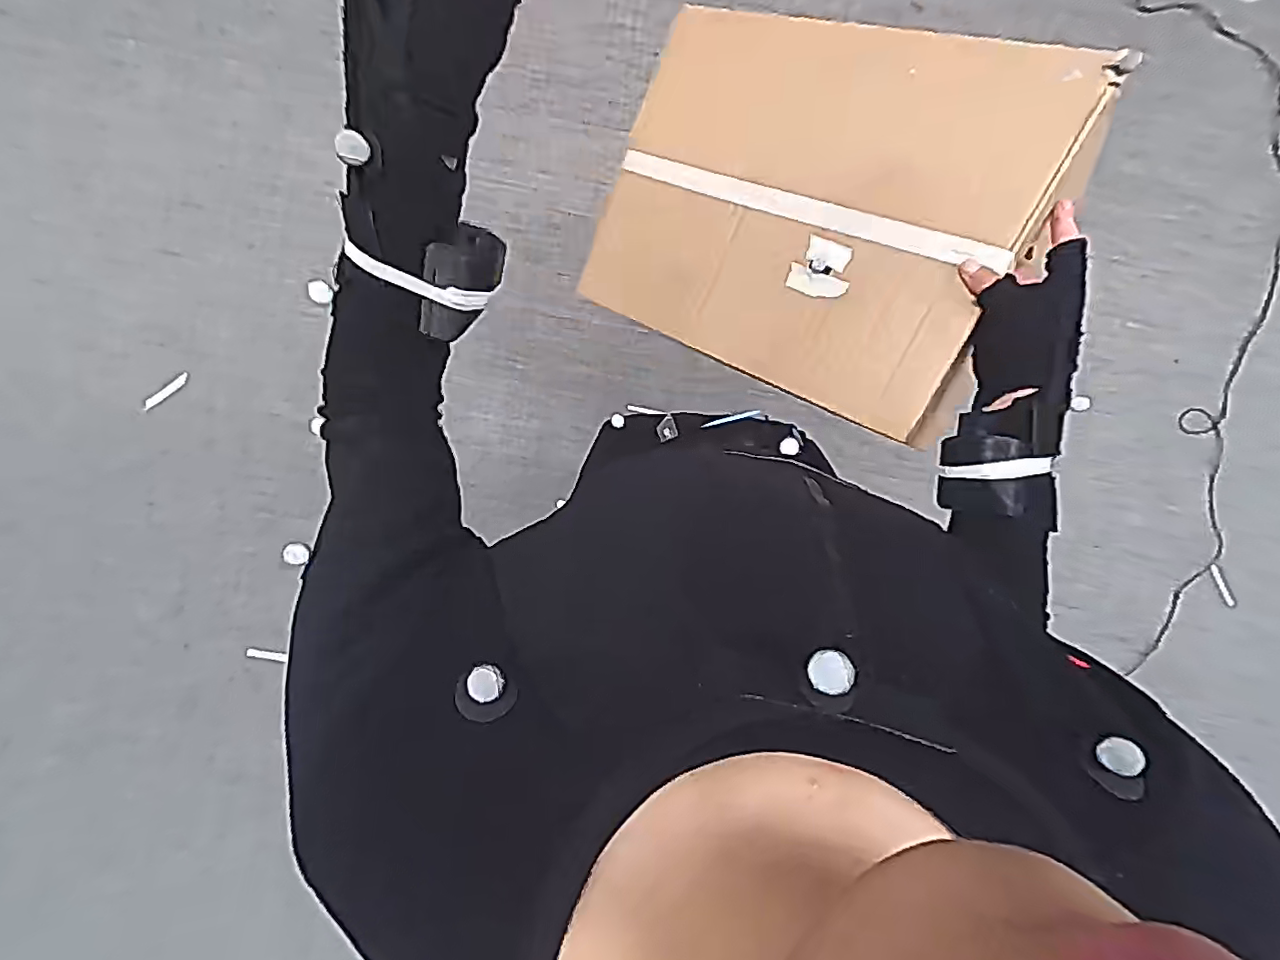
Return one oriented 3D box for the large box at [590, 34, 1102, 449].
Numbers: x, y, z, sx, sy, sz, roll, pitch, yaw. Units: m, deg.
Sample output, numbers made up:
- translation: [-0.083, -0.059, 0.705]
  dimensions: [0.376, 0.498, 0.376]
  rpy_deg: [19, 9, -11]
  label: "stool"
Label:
- translation: [0.222, -0.265, 0.667]
  dimensions: [0.408, 0.320, 0.320]
  rpy_deg: [33, 108, 27]
  label: "large box"
